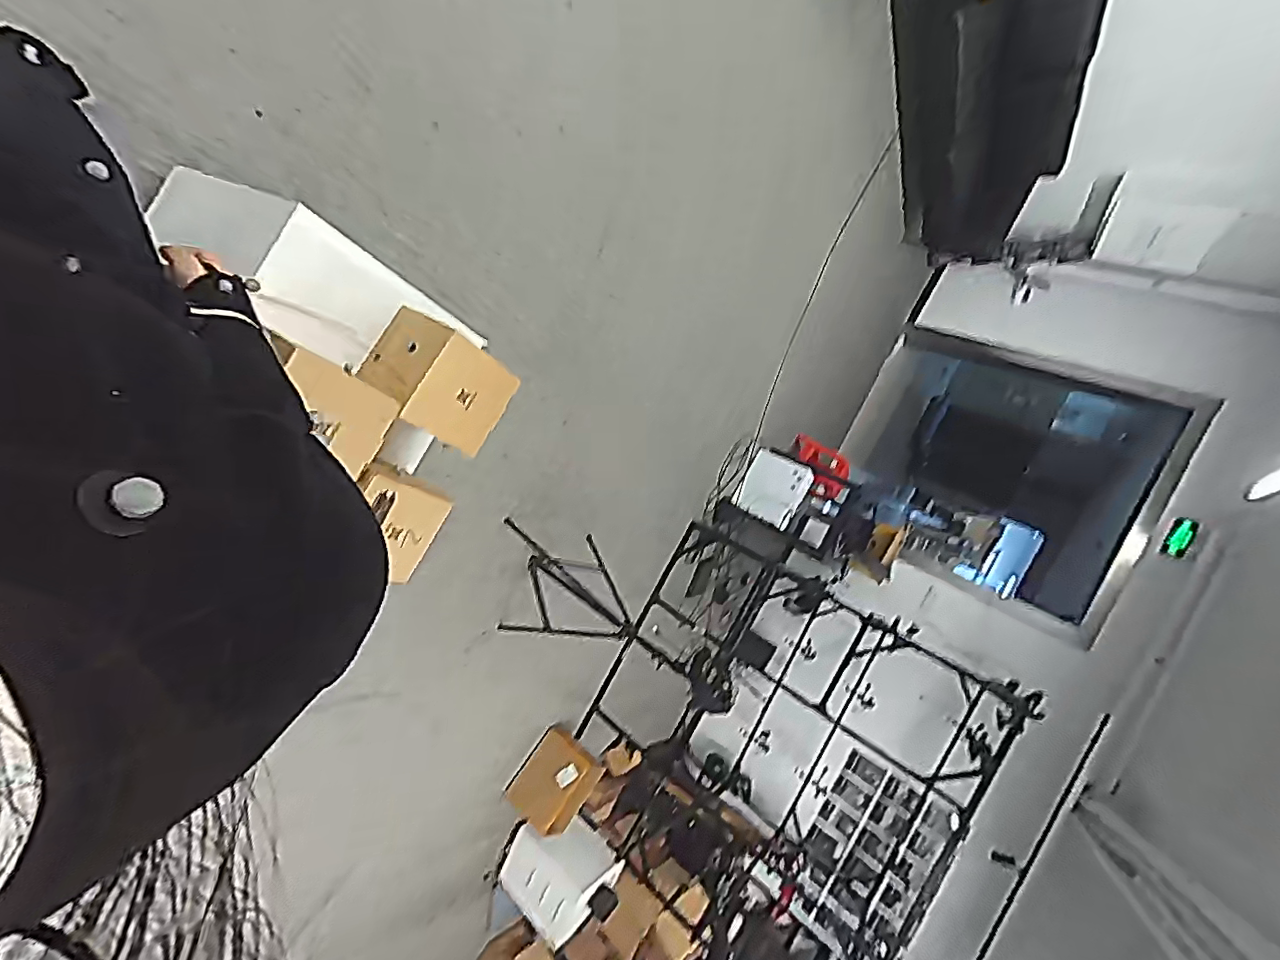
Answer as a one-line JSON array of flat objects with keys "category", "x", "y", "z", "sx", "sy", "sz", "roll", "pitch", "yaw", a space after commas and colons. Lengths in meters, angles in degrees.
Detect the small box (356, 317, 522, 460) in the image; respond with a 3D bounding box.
[{"category": "small box", "x": -0.351, "y": -0.164, "z": 0.946, "sx": 0.168, "sy": 0.176, "sz": 0.179, "roll": -59, "pitch": 149, "yaw": -5}]
